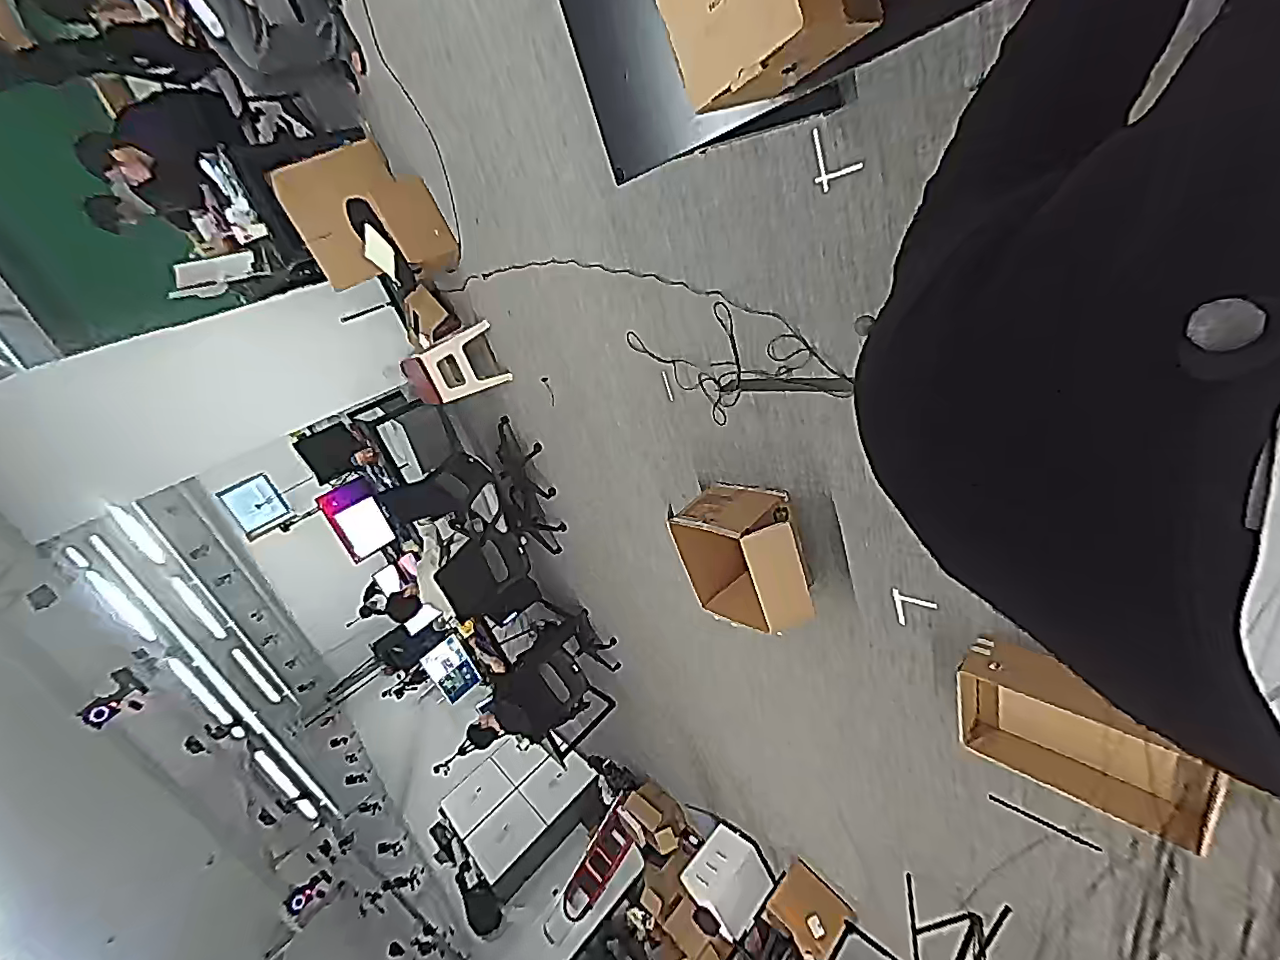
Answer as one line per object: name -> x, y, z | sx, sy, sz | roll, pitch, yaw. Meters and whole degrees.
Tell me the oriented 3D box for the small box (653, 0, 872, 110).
small box -> 0.134, -0.565, 0.610 | 0.168, 0.176, 0.179 | 2, 122, 53
